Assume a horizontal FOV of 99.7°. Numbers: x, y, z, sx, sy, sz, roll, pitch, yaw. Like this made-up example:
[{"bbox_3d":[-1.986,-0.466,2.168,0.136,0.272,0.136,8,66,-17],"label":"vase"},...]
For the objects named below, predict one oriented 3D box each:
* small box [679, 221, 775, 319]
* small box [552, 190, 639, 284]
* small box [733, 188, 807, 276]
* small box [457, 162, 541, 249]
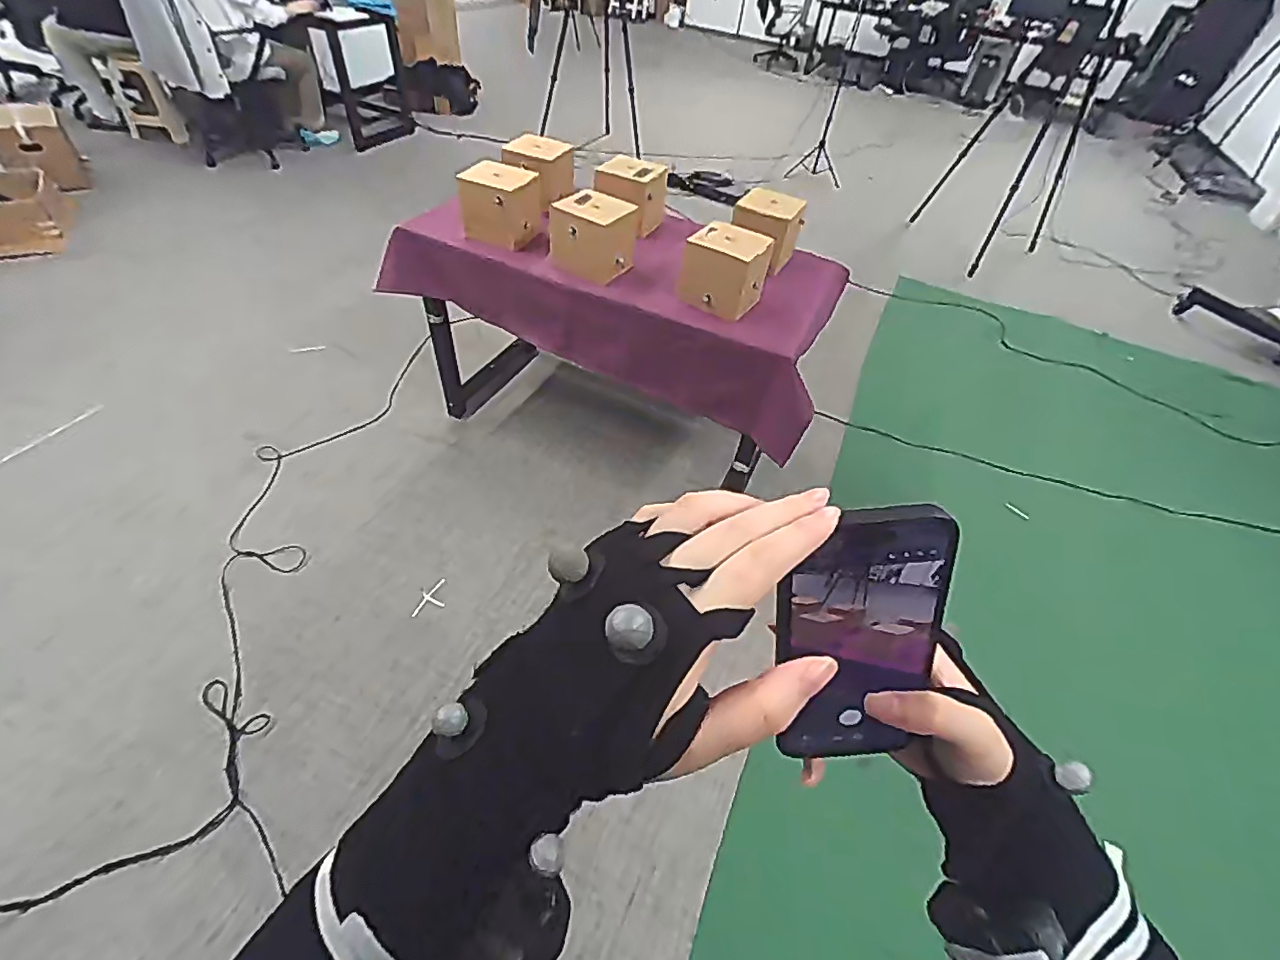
[{"bbox_3d":[0.223,-0.545,1.416,0.179,0.176,0.168,29,50,17],"label":"small box"},{"bbox_3d":[-0.124,-0.662,1.478,0.179,0.176,0.168,28,50,16],"label":"small box"},{"bbox_3d":[0.372,-0.739,1.611,0.168,0.176,0.179,25,50,16],"label":"small box"},{"bbox_3d":[-0.399,-0.789,1.559,0.179,0.176,0.168,19,48,8],"label":"small box"}]
